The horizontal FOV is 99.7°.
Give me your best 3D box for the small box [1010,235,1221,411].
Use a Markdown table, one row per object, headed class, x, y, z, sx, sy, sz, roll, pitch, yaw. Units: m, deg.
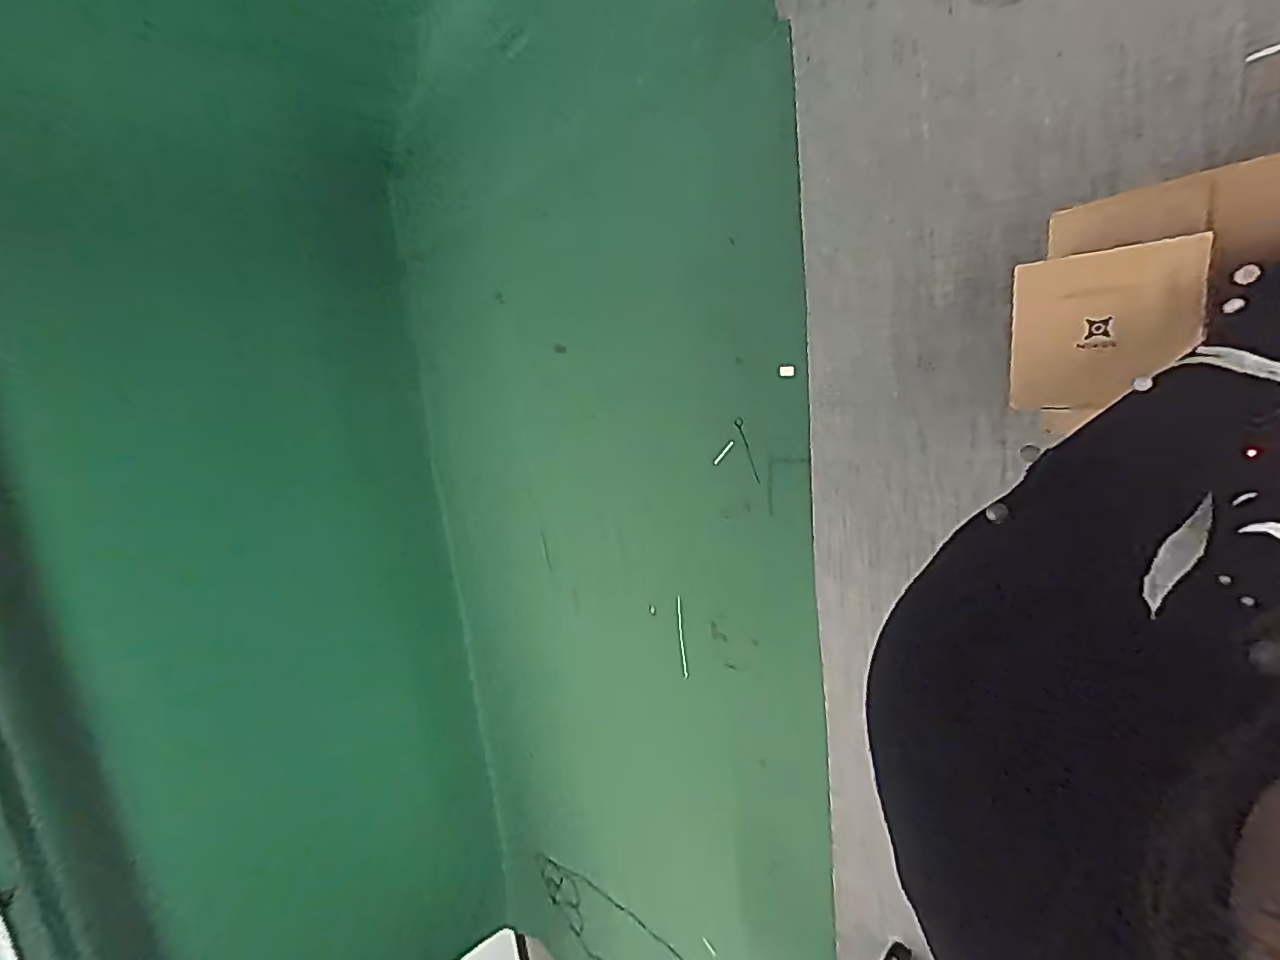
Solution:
| class | x | y | z | sx | sy | sz | roll | pitch | yaw |
| --- | --- | --- | --- | --- | --- | --- | --- | --- | --- |
| small box | 0.571 | -0.182 | 0.654 | 0.168 | 0.176 | 0.179 | 8 | 108 | 47 |
